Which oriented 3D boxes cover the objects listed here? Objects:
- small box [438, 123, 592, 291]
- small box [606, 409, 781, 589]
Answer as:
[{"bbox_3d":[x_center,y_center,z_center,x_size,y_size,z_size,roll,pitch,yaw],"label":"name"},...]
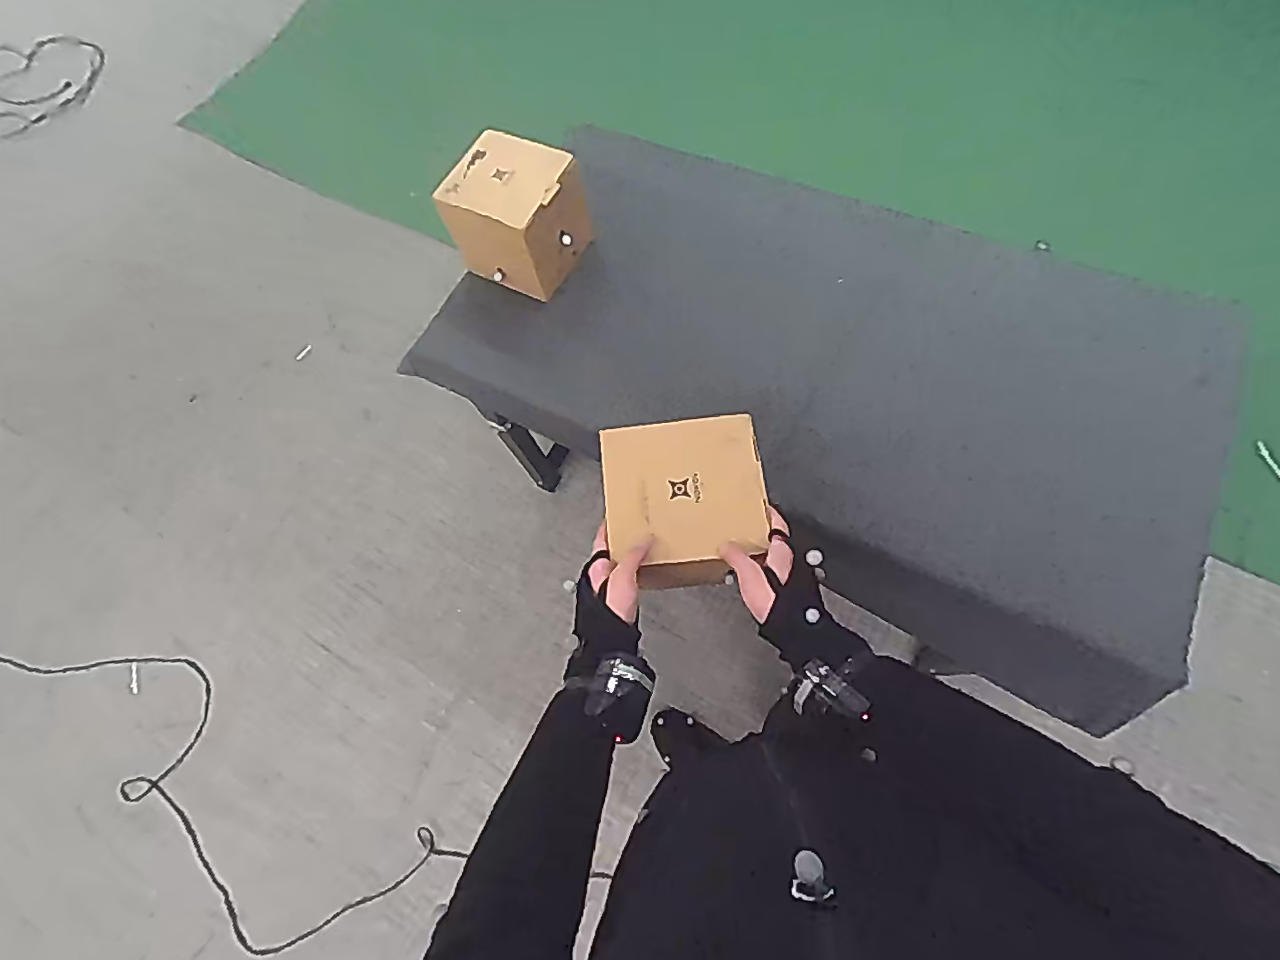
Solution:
[{"bbox_3d":[-0.198,-0.453,0.920,0.179,0.176,0.168,27,72,12],"label":"small box"},{"bbox_3d":[0.057,0.031,0.655,0.179,0.176,0.168,-6,67,2],"label":"small box"}]
